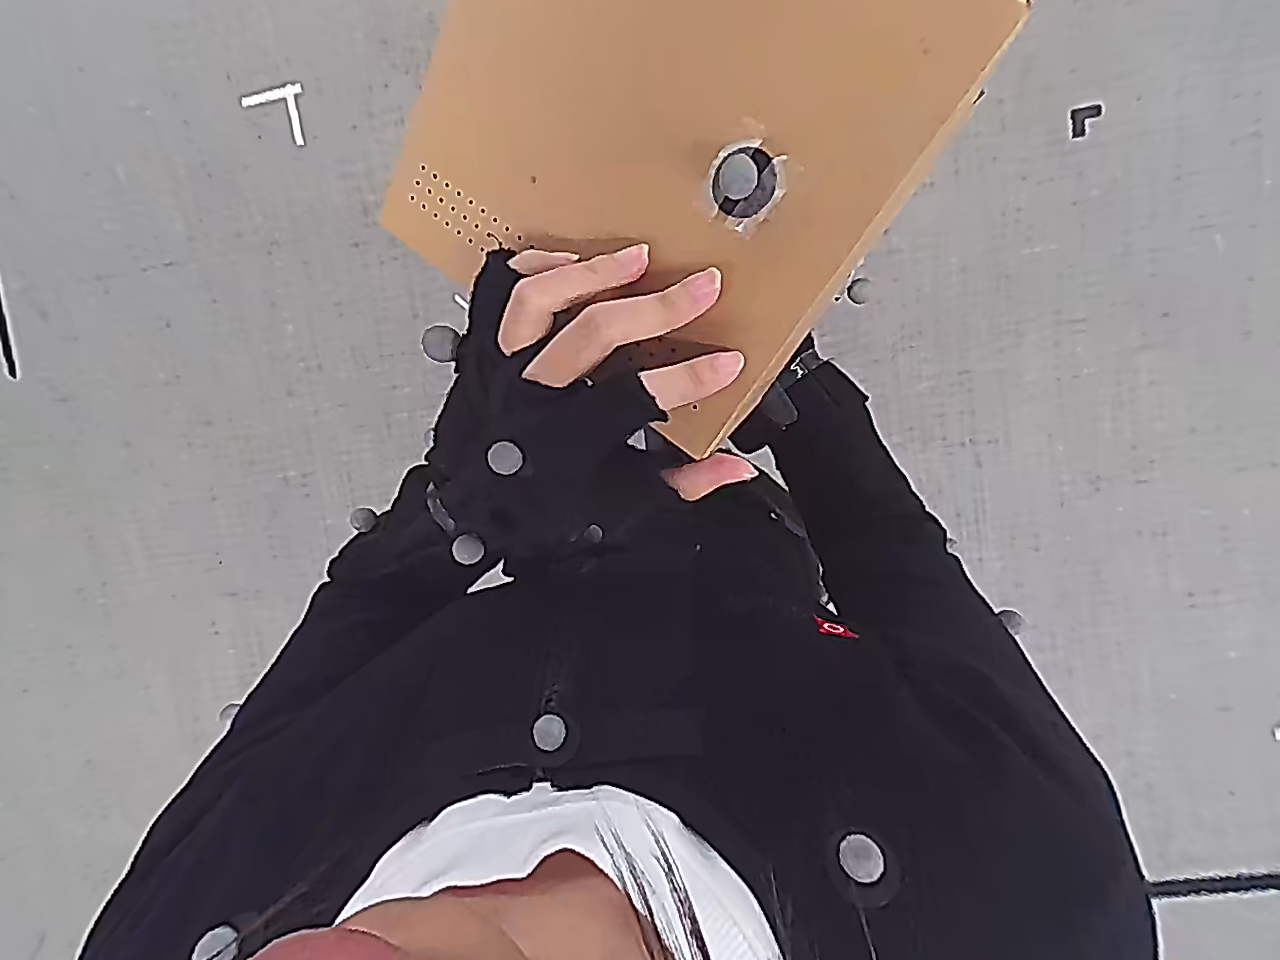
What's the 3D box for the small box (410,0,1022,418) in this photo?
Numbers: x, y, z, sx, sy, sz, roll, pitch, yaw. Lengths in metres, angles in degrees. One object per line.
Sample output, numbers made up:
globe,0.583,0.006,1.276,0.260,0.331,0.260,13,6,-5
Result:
small box,0.028,-0.145,0.267,0.179,0.168,0.176,37,115,7
